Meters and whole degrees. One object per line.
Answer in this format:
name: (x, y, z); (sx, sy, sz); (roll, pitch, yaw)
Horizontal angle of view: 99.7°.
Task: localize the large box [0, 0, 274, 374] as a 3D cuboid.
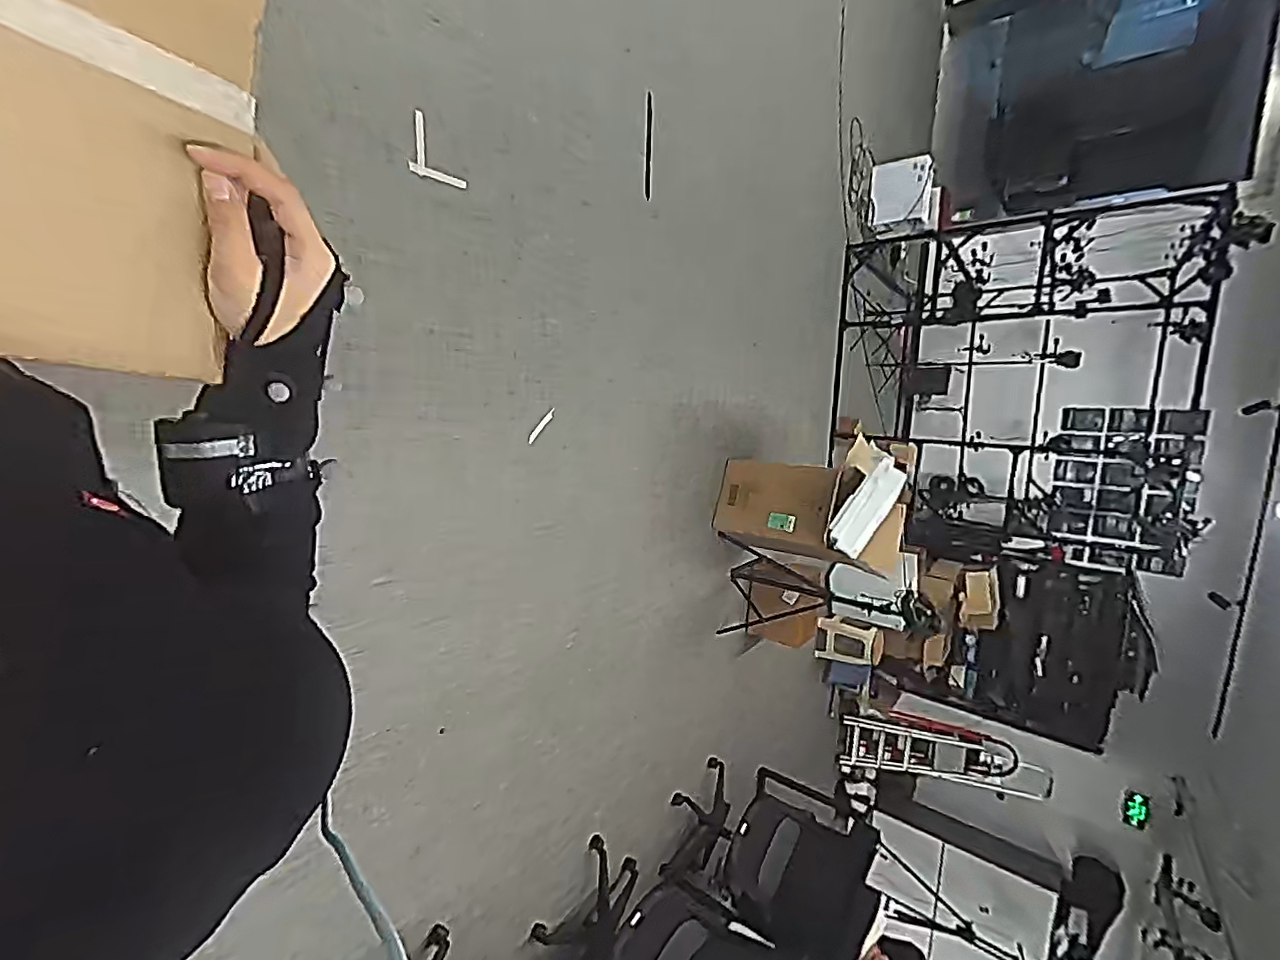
large box: (-0.464, -0.252, 0.257); (0.408, 0.320, 0.320); (1, 106, -52)
